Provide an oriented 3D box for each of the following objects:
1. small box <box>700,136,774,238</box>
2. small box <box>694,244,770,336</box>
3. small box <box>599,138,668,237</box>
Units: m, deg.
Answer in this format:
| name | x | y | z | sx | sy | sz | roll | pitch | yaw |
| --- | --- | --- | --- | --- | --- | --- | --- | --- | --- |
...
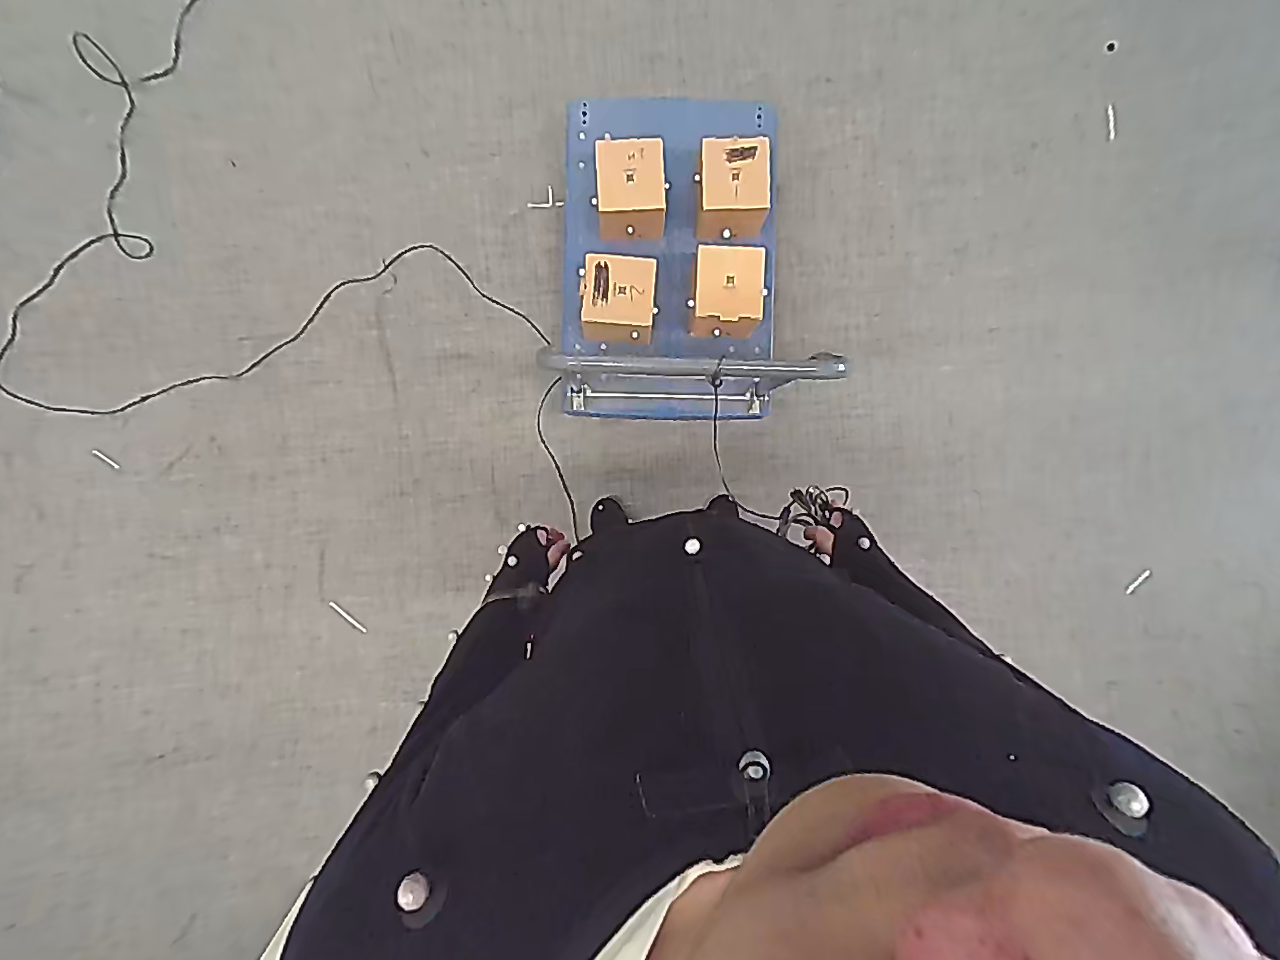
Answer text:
| name | x | y | z | sx | sy | sz | roll | pitch | yaw |
| --- | --- | --- | --- | --- | --- | --- | --- | --- | --- |
| small box | 0.243 | -0.743 | 1.384 | 0.168 | 0.176 | 0.179 | -1 | 91 | 1 |
| small box | 0.229 | -0.481 | 1.386 | 0.168 | 0.176 | 0.179 | 2 | 90 | 0 |
| small box | -0.014 | -0.739 | 1.386 | 0.168 | 0.176 | 0.179 | -2 | 90 | -1 |
